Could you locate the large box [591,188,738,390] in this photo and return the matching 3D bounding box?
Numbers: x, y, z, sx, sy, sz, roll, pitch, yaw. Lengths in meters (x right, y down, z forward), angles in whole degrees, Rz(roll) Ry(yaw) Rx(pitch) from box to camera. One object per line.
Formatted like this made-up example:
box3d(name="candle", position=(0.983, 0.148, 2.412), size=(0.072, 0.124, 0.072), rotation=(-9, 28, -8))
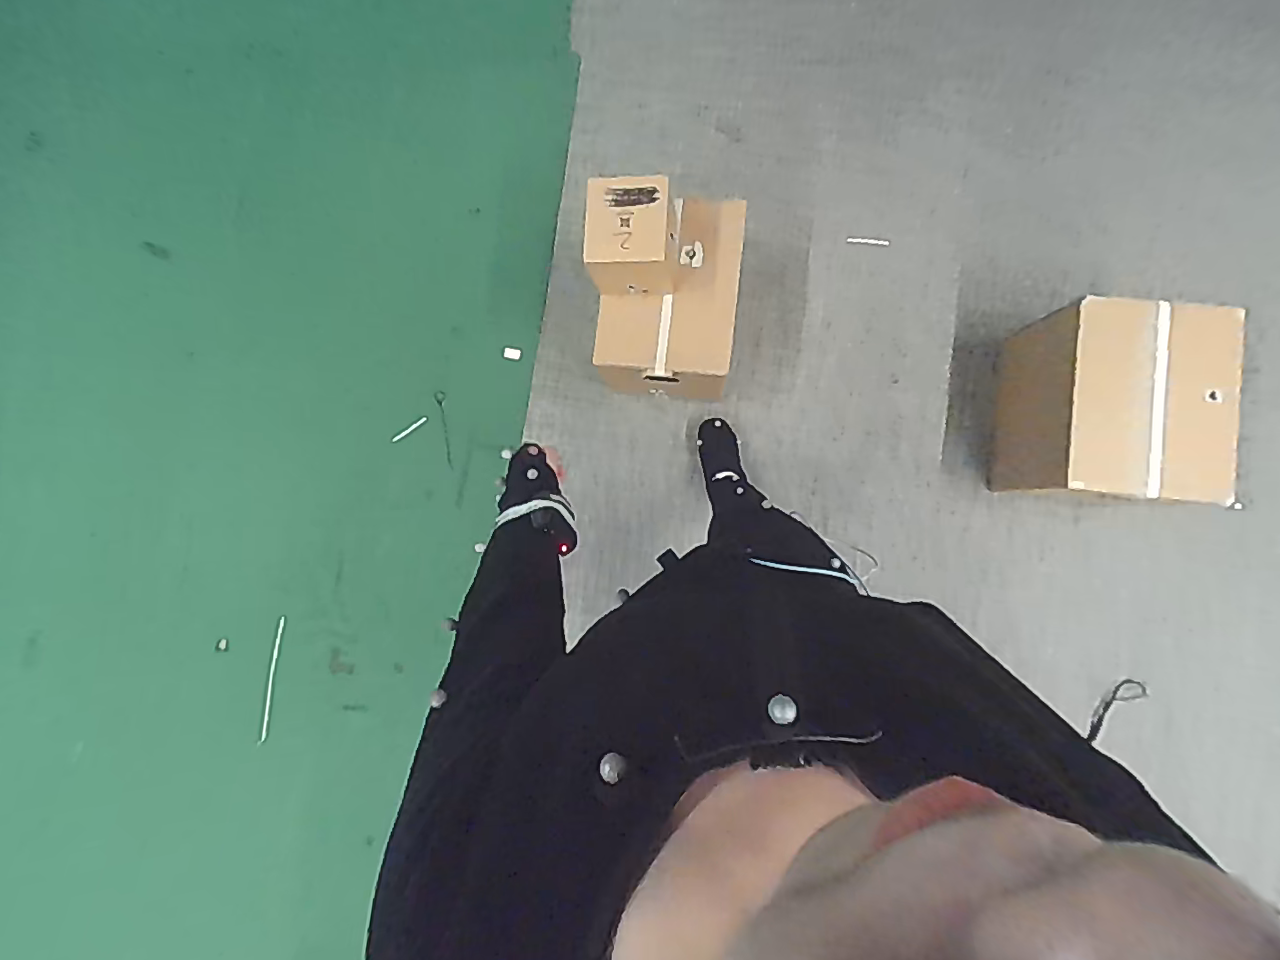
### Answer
box3d(name="large box", position=(0.075, -0.462, 1.381), size=(0.320, 0.320, 0.408), rotation=(5, 87, 7))
